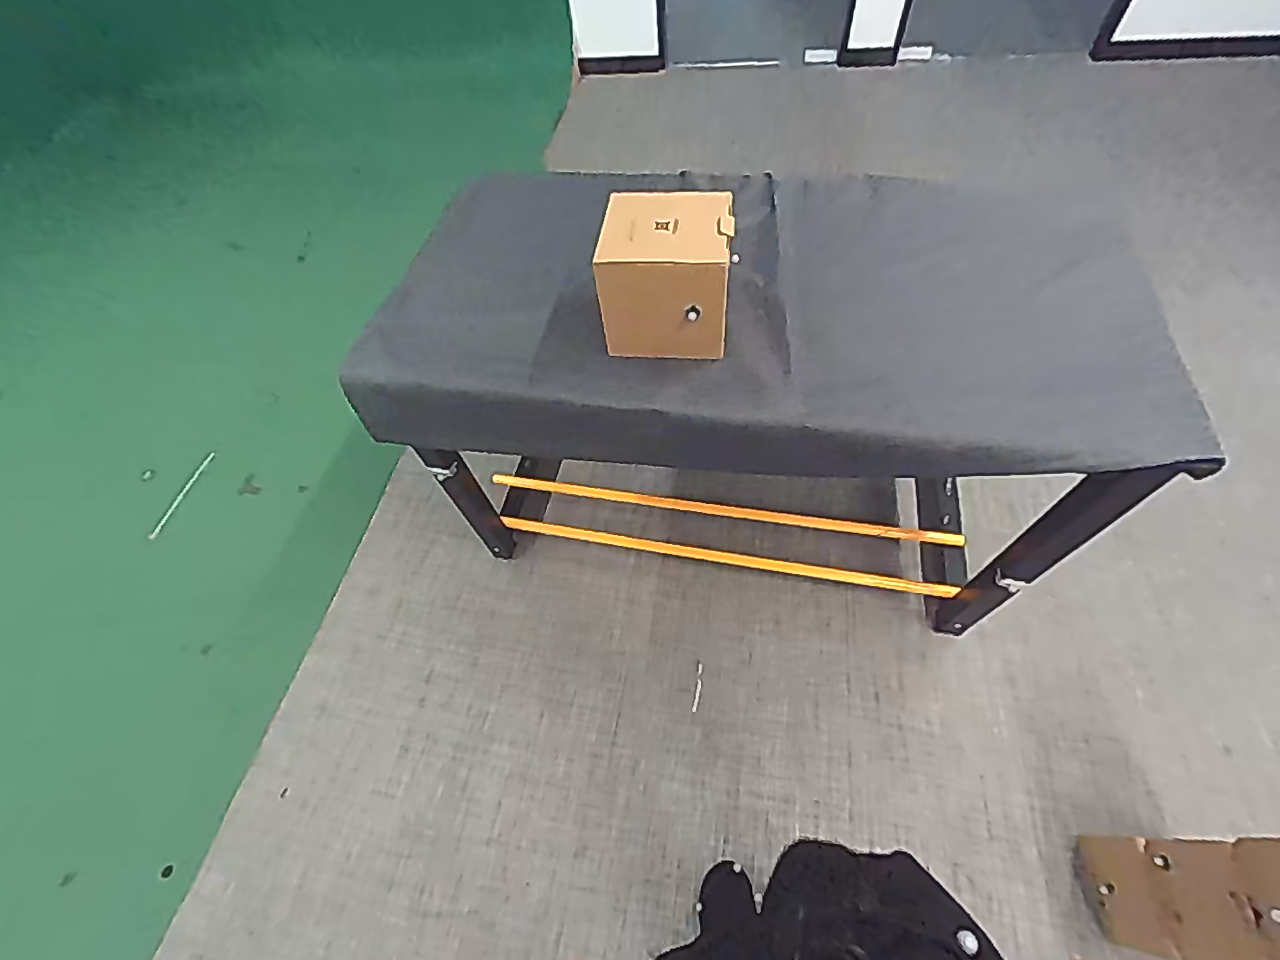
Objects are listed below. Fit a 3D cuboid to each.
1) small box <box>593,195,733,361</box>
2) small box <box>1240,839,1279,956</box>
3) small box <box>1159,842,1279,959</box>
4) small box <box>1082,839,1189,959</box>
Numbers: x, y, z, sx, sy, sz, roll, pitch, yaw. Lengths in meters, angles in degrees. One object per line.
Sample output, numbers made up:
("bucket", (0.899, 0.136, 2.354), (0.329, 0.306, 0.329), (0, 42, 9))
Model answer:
("small box", (0.042, -0.292, 0.796), (0.179, 0.176, 0.168), (3, 56, 9))
("small box", (0.902, 0.543, 0.640), (0.168, 0.176, 0.179), (3, 59, 7))
("small box", (0.912, 0.631, 0.778), (0.179, 0.176, 0.168), (3, 58, 7))
("small box", (0.914, 0.717, 0.918), (0.179, 0.176, 0.168), (2, 57, 8))
